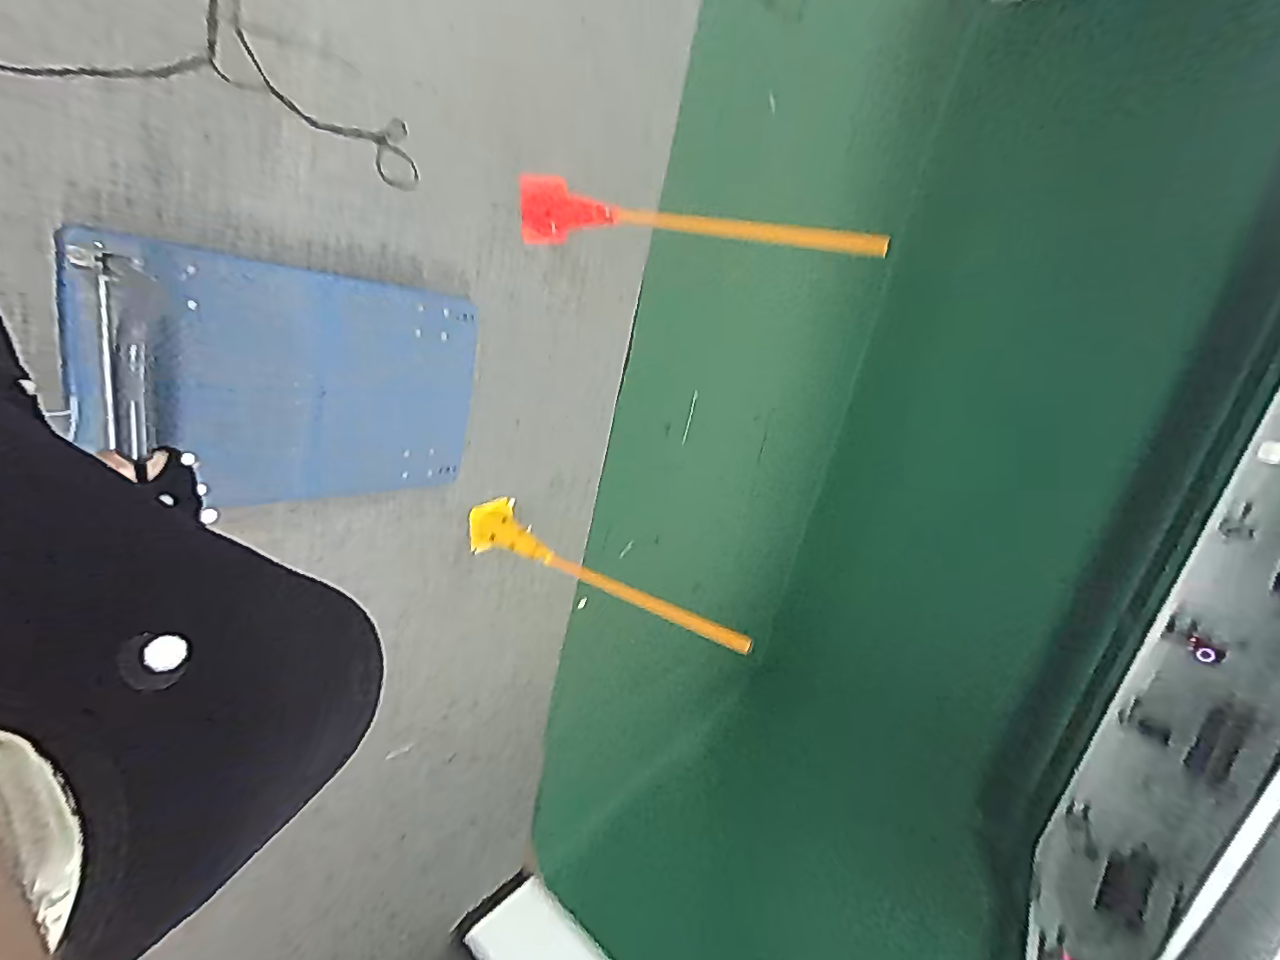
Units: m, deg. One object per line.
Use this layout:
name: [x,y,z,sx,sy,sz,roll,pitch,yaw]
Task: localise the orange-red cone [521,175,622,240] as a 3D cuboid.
orange-red cone: [-0.203,-0.892,1.783,0.198,0.360,0.199,-26,127,-45]
